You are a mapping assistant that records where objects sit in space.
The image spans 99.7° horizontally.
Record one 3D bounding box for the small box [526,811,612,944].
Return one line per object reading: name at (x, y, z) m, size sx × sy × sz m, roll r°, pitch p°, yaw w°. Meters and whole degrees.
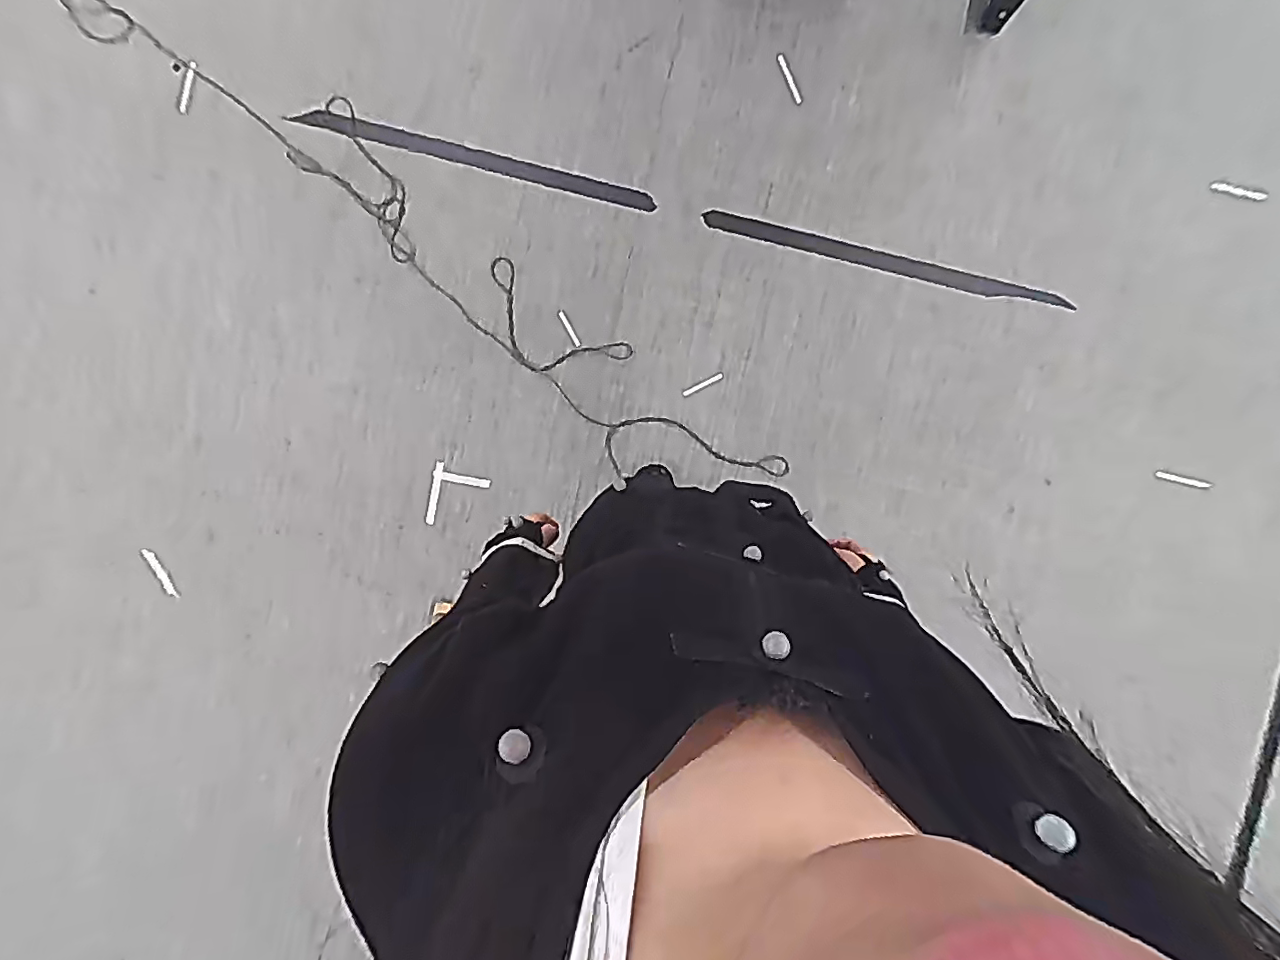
small box at (-0.157, 0.913, 1.253) m, size 0.168 × 0.176 × 0.179 m, roll 8°, pitch 91°, yaw -2°
